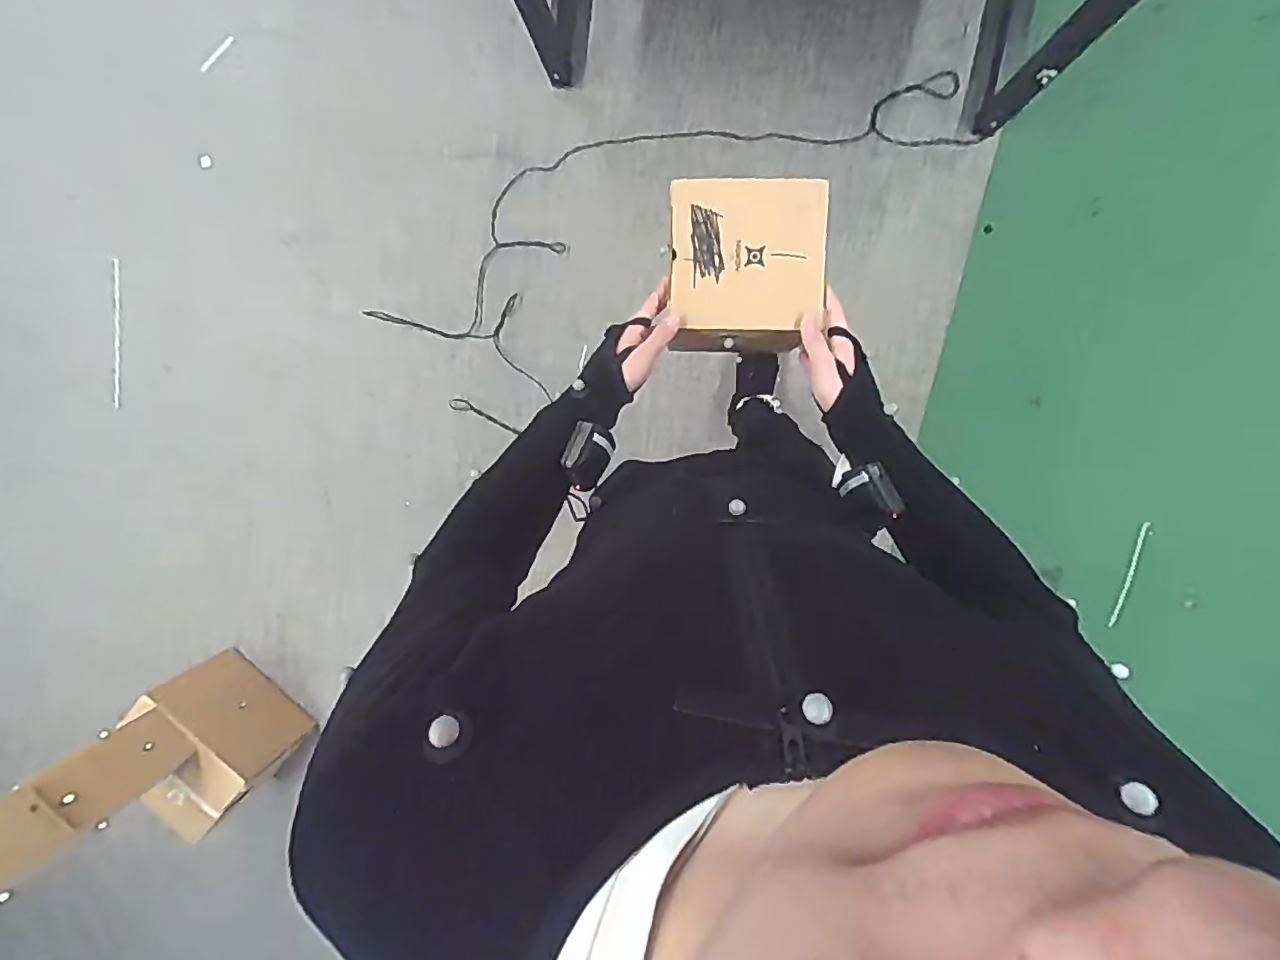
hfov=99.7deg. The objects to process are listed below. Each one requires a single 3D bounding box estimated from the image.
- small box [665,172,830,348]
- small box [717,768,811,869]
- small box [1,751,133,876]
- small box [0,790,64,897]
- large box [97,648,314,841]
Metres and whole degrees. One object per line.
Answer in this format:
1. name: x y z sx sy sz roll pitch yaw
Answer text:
1. small box: 0.122 -0.261 0.676 0.179 0.176 0.168 1 95 2
2. small box: 0.297 0.850 1.330 0.179 0.176 0.168 -21 96 8
3. small box: -1.432 0.806 1.332 0.168 0.176 0.179 -44 94 9
4. small box: -1.429 0.825 1.168 0.179 0.176 0.168 -43 94 10
5. large box: -1.382 0.833 1.746 0.408 0.320 0.320 42 101 -3
